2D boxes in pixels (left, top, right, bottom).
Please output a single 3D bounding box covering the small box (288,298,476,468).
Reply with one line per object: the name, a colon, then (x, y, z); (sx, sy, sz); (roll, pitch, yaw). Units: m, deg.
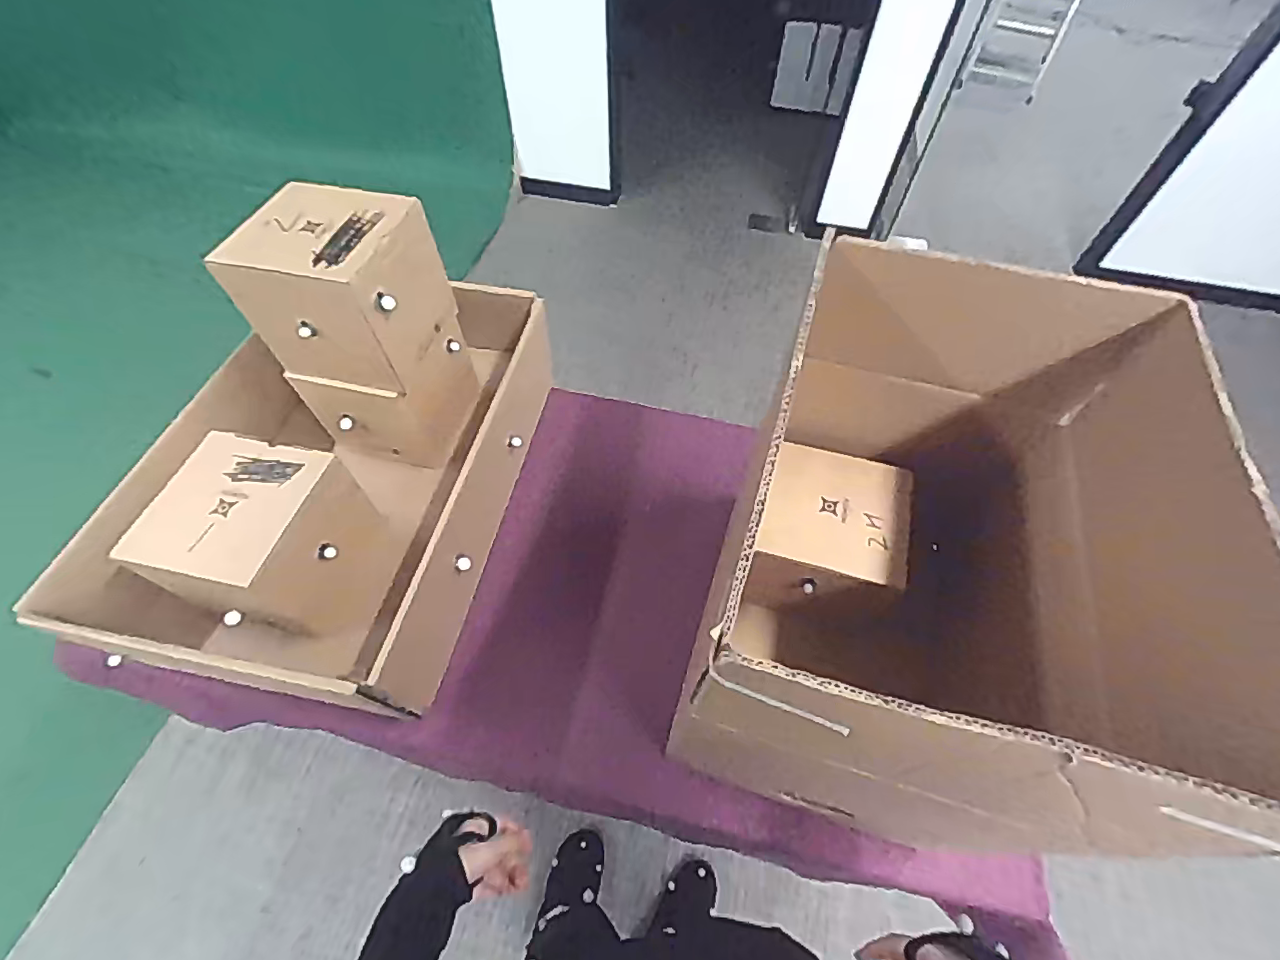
small box: (-0.369, -0.141, 0.815); (0.168, 0.176, 0.179); (12, 57, 8)
